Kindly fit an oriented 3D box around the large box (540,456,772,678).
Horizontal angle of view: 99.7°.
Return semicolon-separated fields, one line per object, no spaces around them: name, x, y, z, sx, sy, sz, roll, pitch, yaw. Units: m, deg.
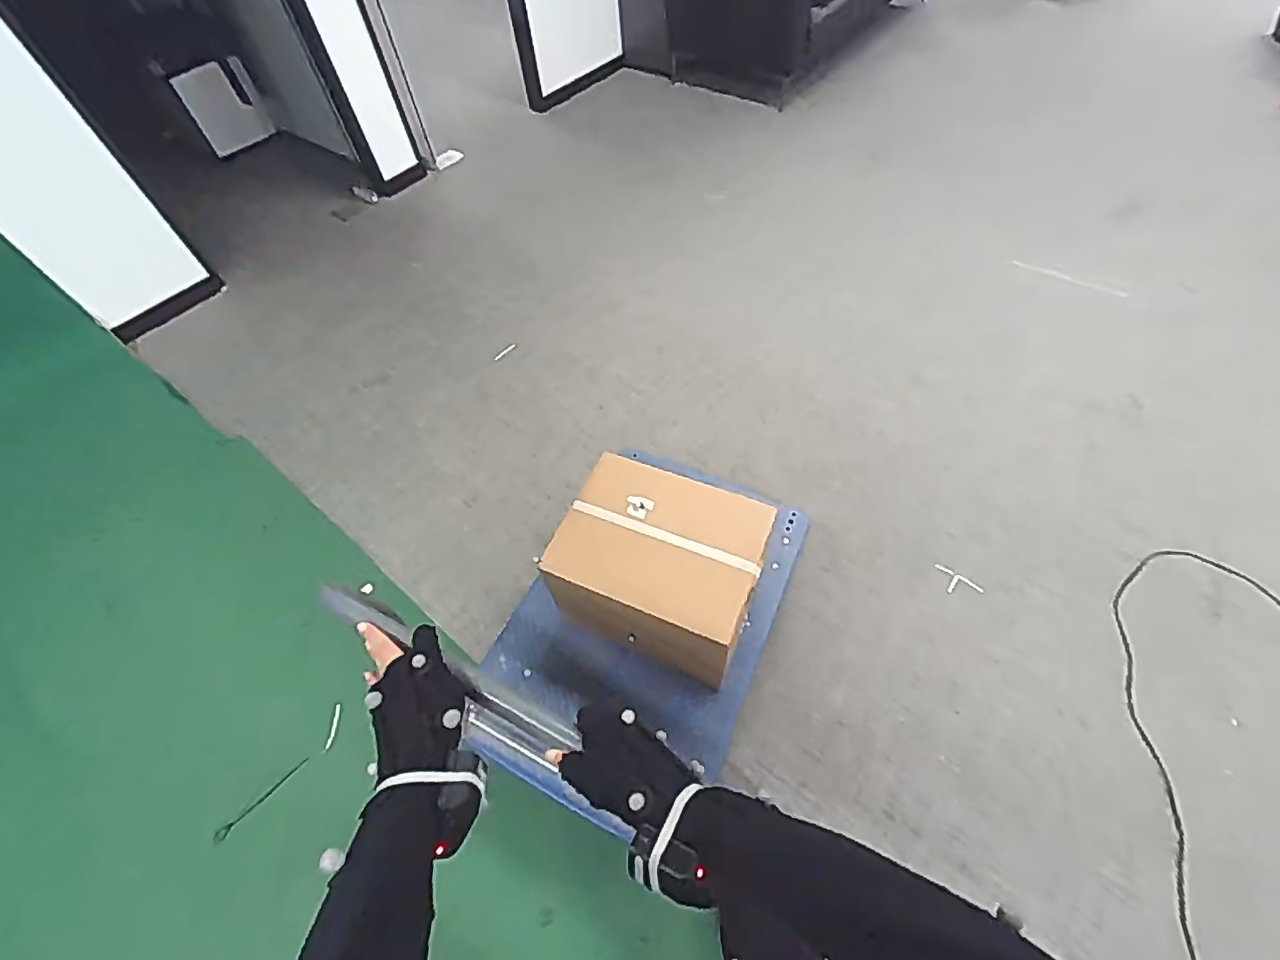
large box;0.052;0.200;1.228;0.408;0.320;0.320;18;59;17
